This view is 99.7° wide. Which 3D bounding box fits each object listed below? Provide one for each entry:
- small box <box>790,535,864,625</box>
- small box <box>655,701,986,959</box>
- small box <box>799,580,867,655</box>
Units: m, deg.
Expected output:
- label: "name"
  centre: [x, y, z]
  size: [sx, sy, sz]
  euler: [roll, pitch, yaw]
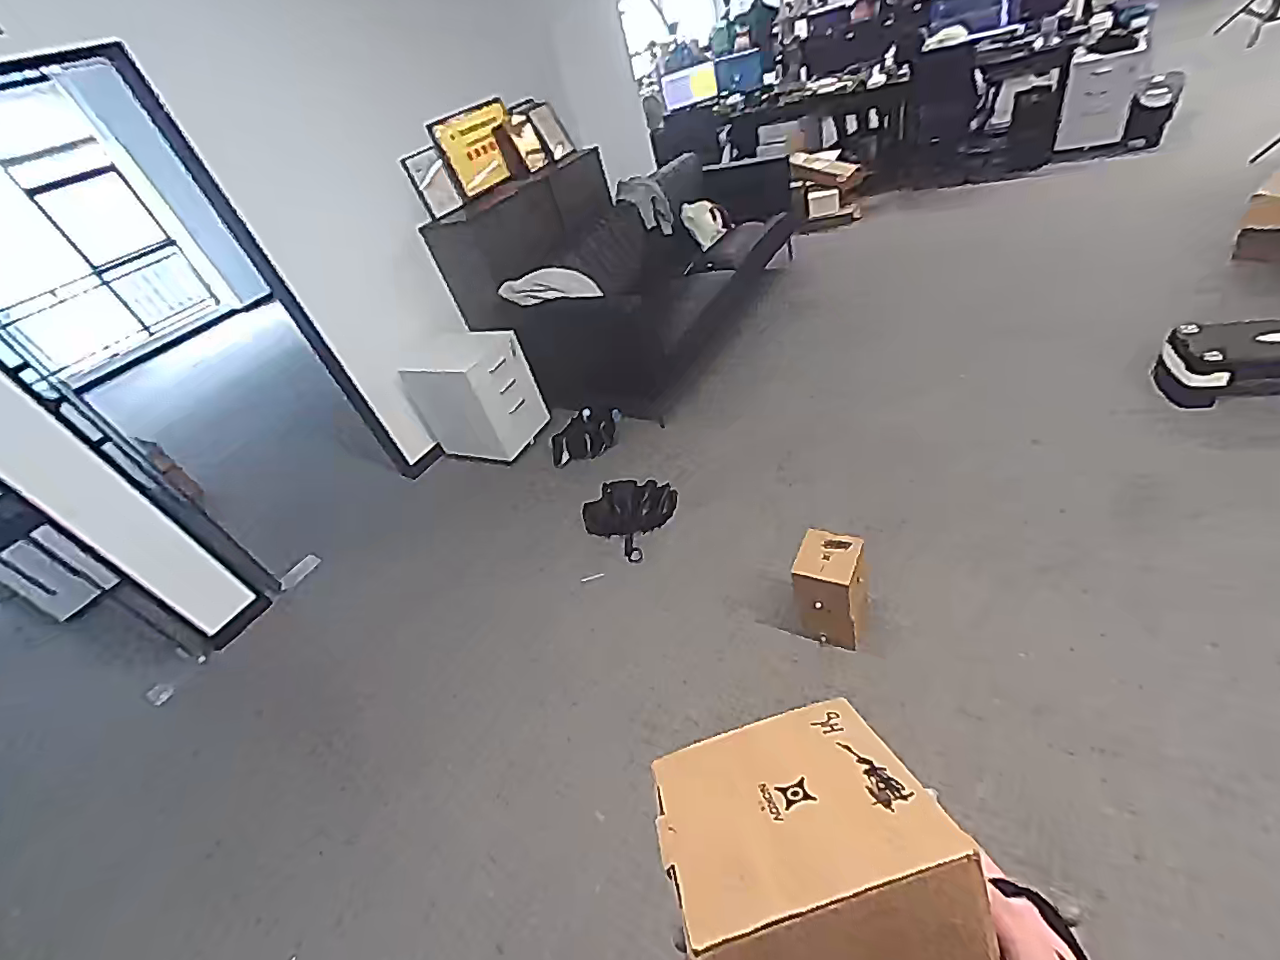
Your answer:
- label: "small box"
  centre: [0.560, 0.296, 1.610]
  size: [0.168, 0.176, 0.179]
  euler: [9, 46, 33]
- label: "small box"
  centre: [0.124, 0.302, 0.394]
  size: [0.179, 0.176, 0.168]
  euler: [-16, 10, -3]
- label: "small box"
  centre: [0.613, 0.418, 1.707]
  size: [0.168, 0.176, 0.179]
  euler: [7, 46, 32]
